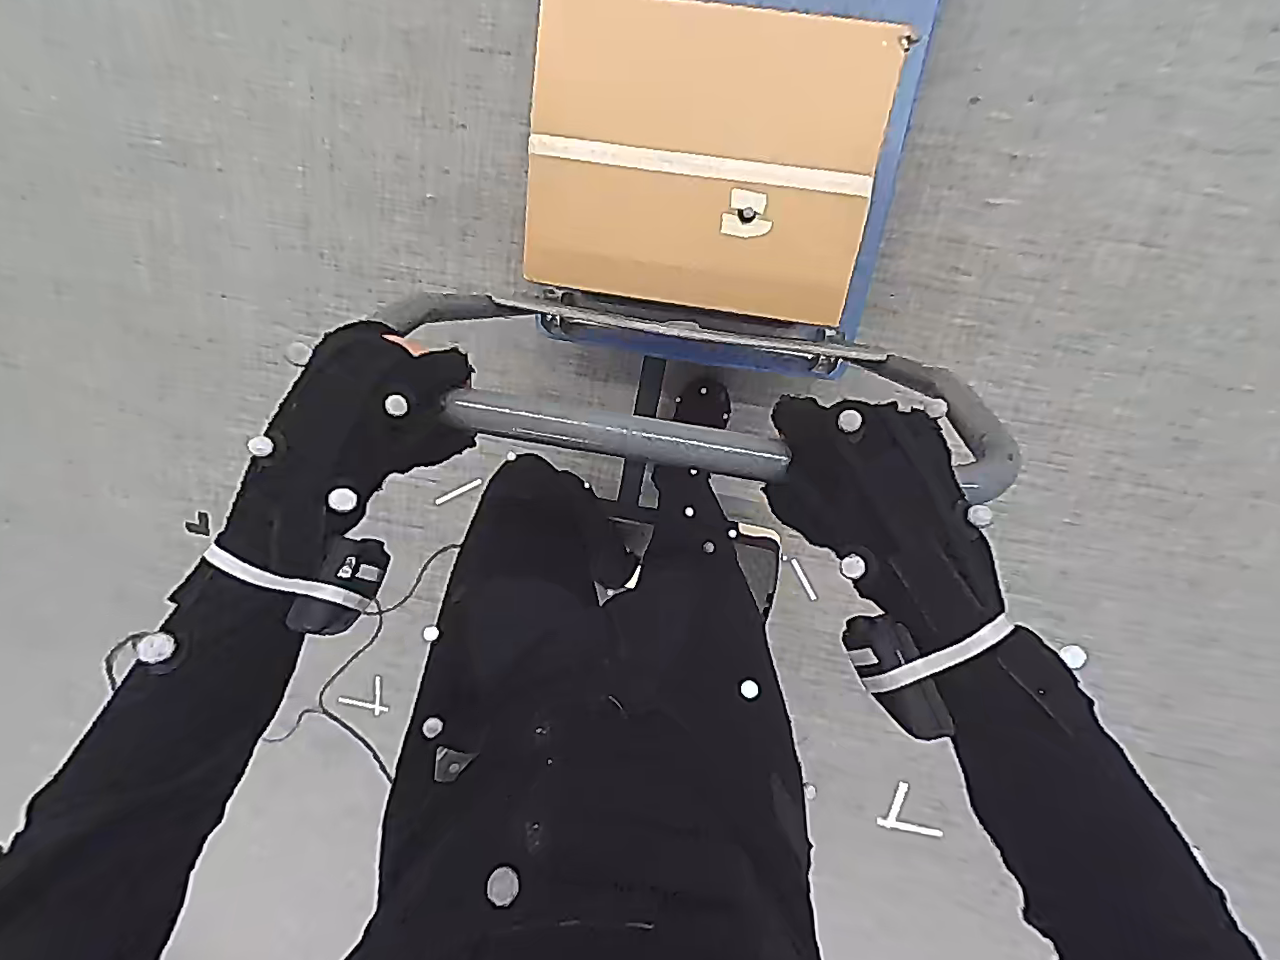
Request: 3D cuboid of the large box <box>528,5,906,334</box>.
[{"bbox_3d":[0.083,-0.394,0.772,0.408,0.320,0.320,9,108,3],"label":"large box"}]
